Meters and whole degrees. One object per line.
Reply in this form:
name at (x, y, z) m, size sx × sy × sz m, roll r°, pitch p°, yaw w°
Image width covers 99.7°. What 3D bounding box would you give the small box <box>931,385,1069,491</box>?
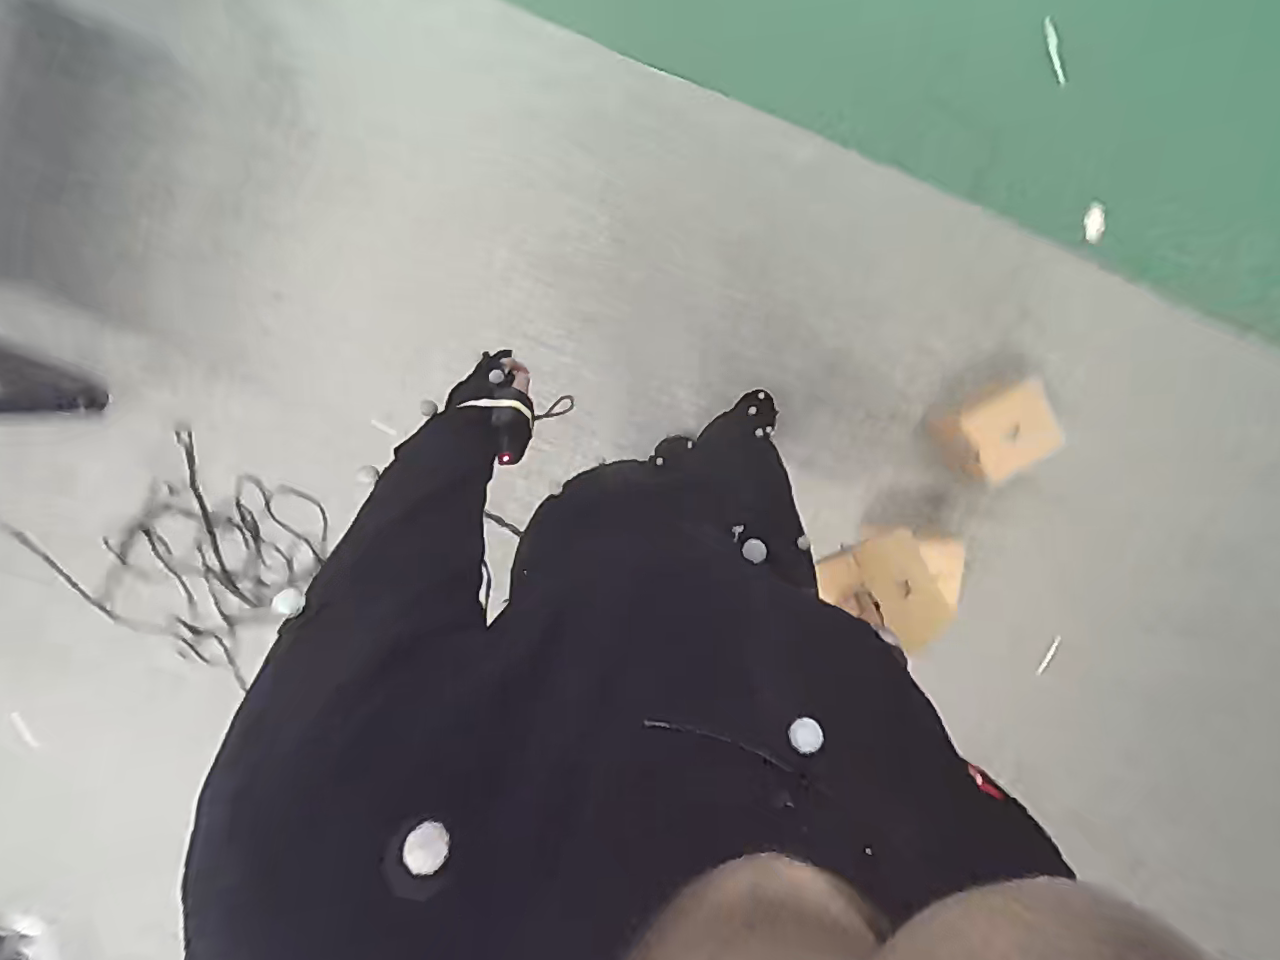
small box at (0.785, -0.096, 1.206) m, size 0.179 × 0.176 × 0.168 m, roll -30°, pitch 97°, yaw 5°
